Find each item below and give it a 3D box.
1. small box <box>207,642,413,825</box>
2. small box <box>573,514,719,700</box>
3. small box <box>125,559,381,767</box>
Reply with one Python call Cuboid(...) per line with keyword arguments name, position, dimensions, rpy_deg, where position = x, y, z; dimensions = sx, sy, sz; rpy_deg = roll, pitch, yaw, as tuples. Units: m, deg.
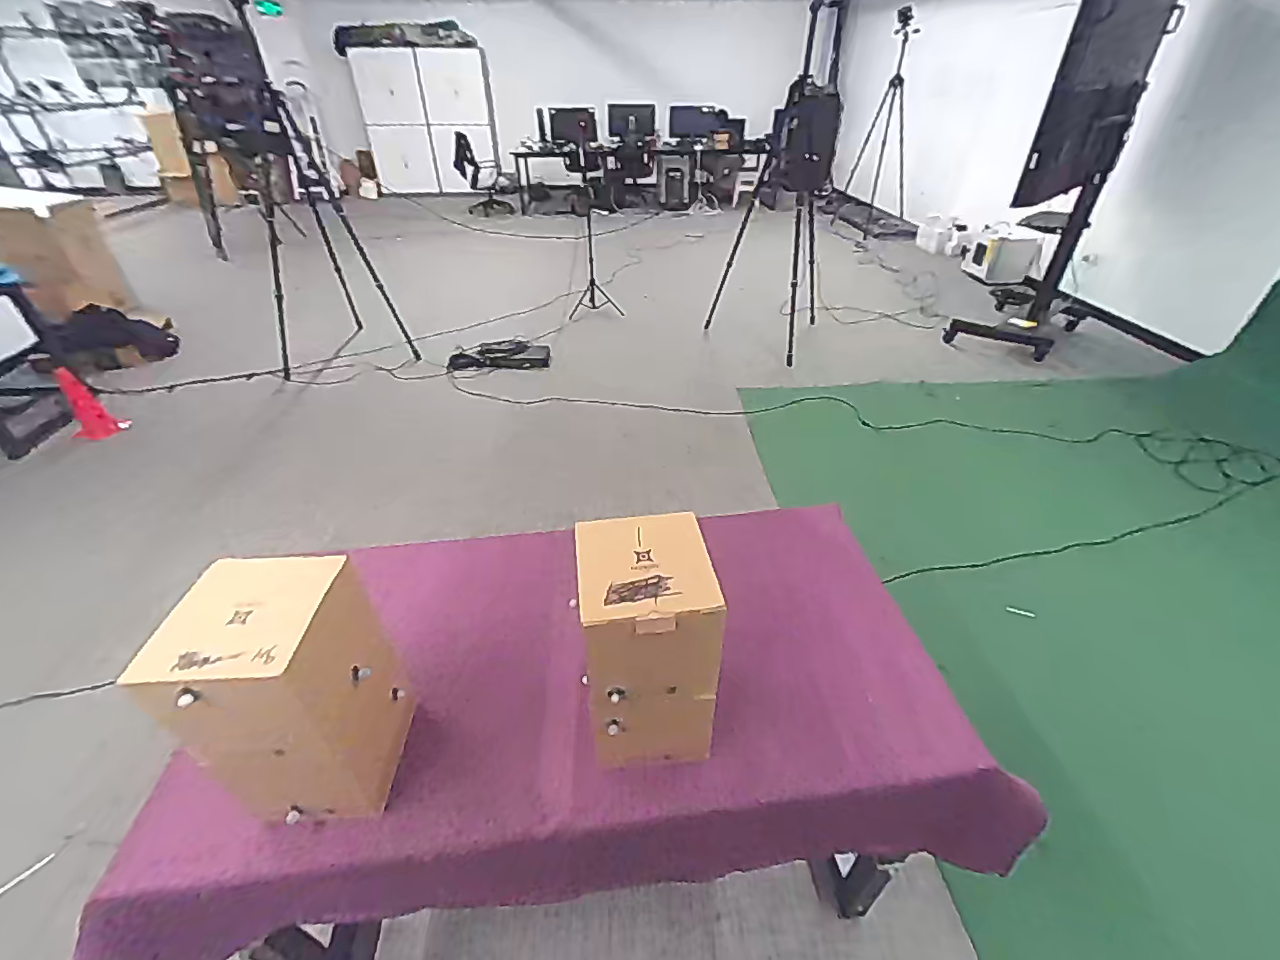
Cuboid(name="small box", position=(-0.438, 0.351, 0.757), dimensions=(0.168, 0.176, 0.179), rpy_deg=(-2, 37, -1))
Cuboid(name="small box", position=(0.003, 0.169, 0.715), dimensions=(0.168, 0.176, 0.179), rpy_deg=(-5, 35, -6))
Cuboid(name="small box", position=(-0.441, 0.219, 0.659), dimensions=(0.168, 0.176, 0.179), rpy_deg=(-3, 36, 0))
